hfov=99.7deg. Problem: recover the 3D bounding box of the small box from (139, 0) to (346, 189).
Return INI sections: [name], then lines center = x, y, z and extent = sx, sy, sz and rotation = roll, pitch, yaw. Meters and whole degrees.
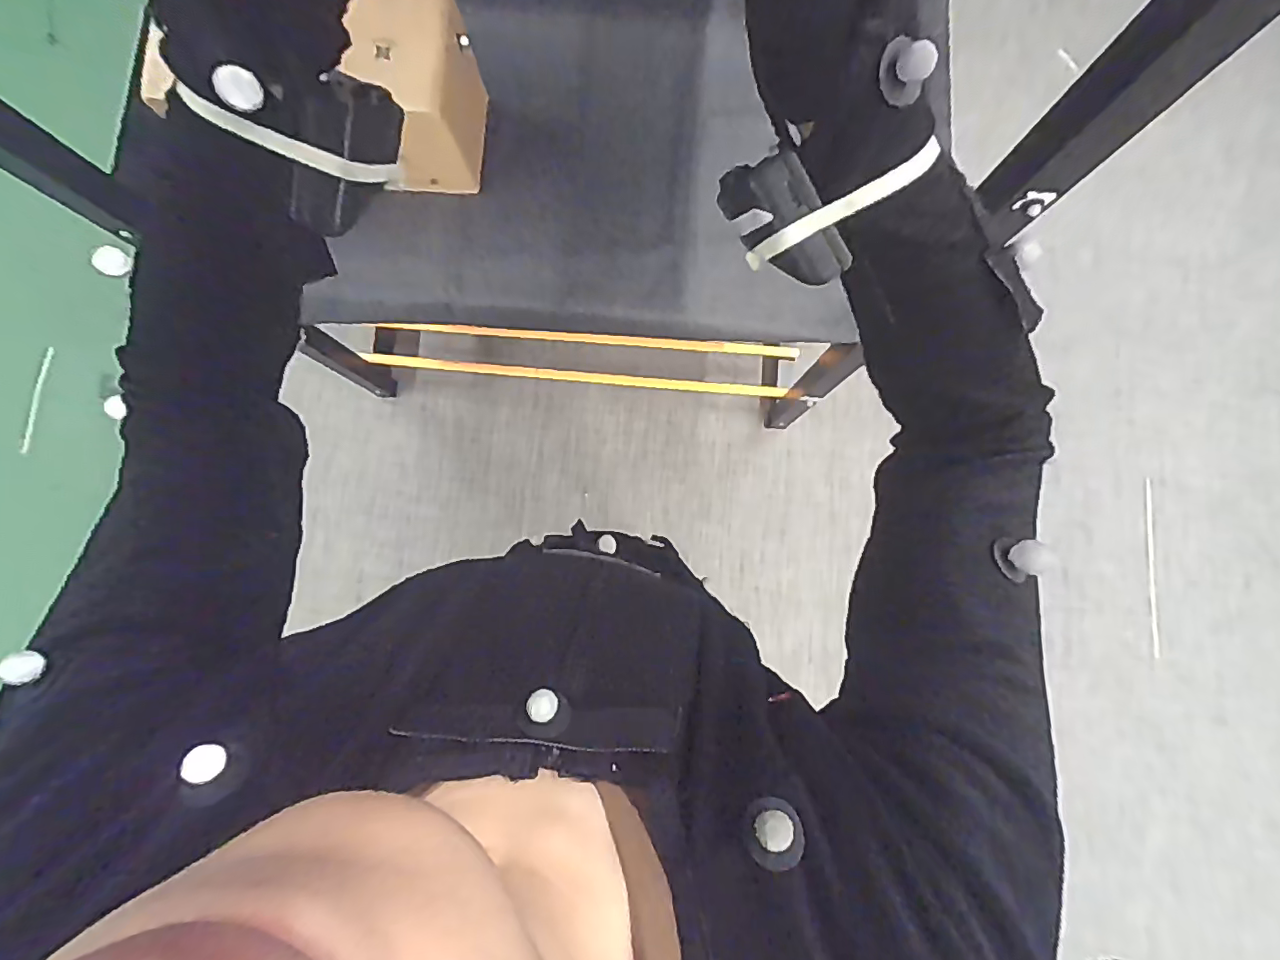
[small box]
center = -0.549, -0.554, 0.774
extent = 0.168, 0.176, 0.179
rotation = 2, 83, 0
